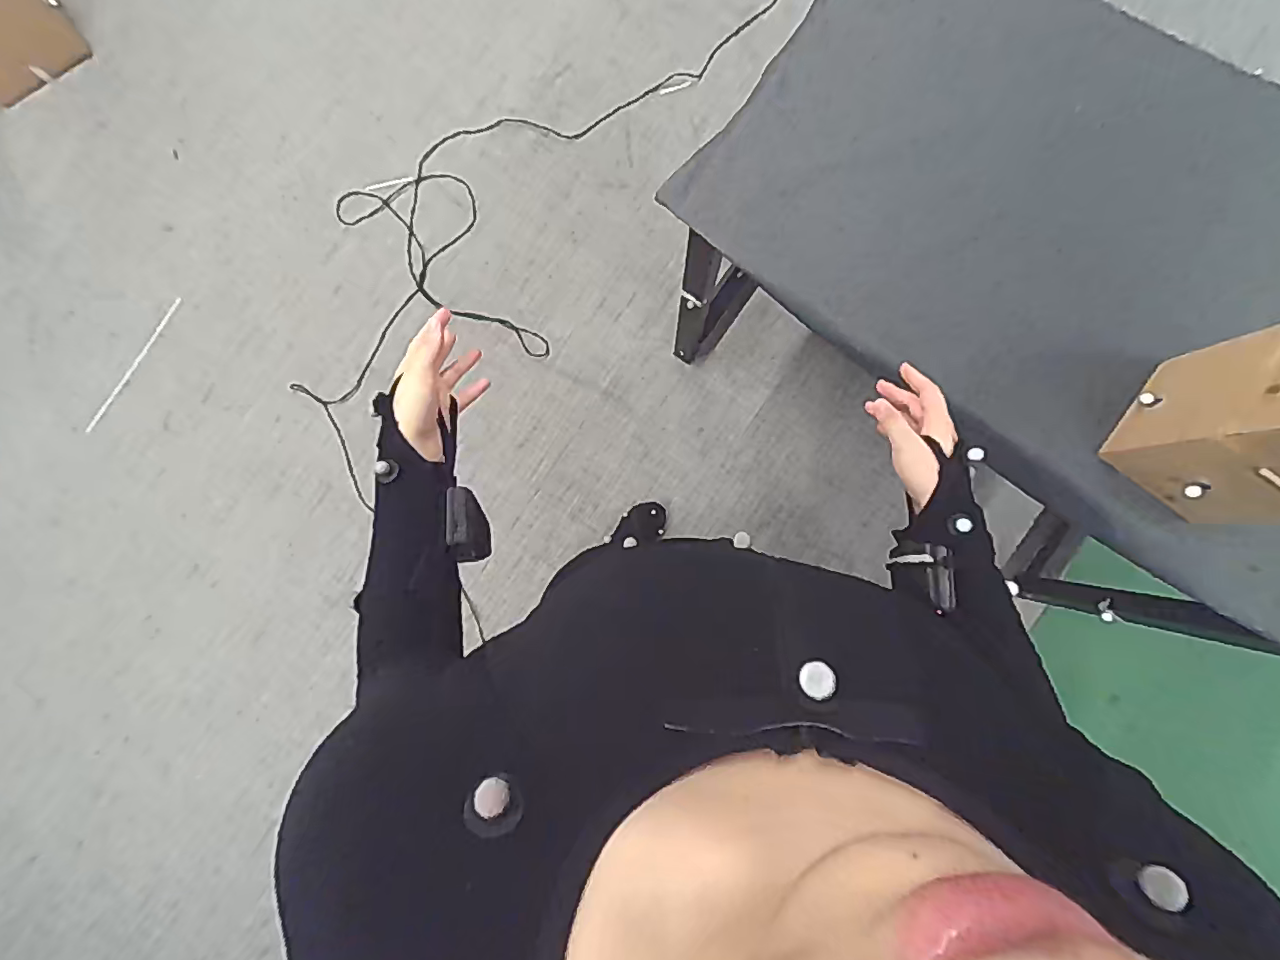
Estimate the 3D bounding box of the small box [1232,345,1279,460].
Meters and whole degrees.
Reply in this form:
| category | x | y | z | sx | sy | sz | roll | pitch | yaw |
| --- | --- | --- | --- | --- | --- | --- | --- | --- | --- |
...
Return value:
| category | x | y | z | sx | sy | sz | roll | pitch | yaw |
| --- | --- | --- | --- | --- | --- | --- | --- | --- | --- |
| small box | 0.765 | -0.080 | 0.519 | 0.179 | 0.176 | 0.168 | 35 | 87 | 4 |

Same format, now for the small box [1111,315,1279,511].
| category | x | y | z | sx | sy | sz | roll | pitch | yaw |
| --- | --- | --- | --- | --- | --- | --- | --- | --- | --- |
| small box | 0.761 | -0.072 | 0.682 | 0.168 | 0.176 | 0.179 | 36 | 88 | 4 |
